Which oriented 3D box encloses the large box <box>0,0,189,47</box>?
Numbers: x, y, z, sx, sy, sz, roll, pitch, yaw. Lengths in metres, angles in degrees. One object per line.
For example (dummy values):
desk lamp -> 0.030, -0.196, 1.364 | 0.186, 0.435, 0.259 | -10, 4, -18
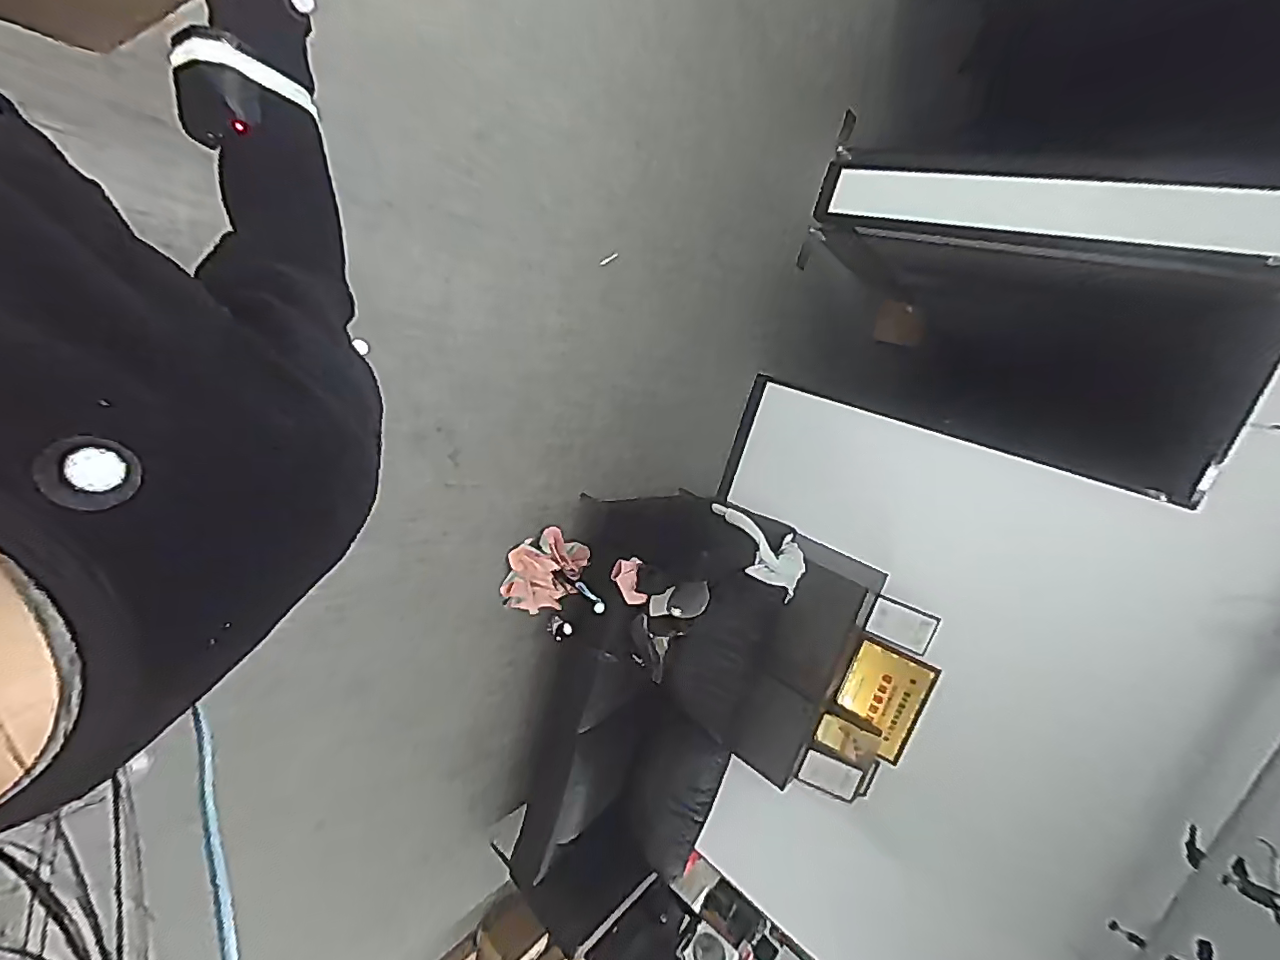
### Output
large box -> -0.522, -0.501, 0.271 | 0.408, 0.320, 0.320 | -15, 117, -51
